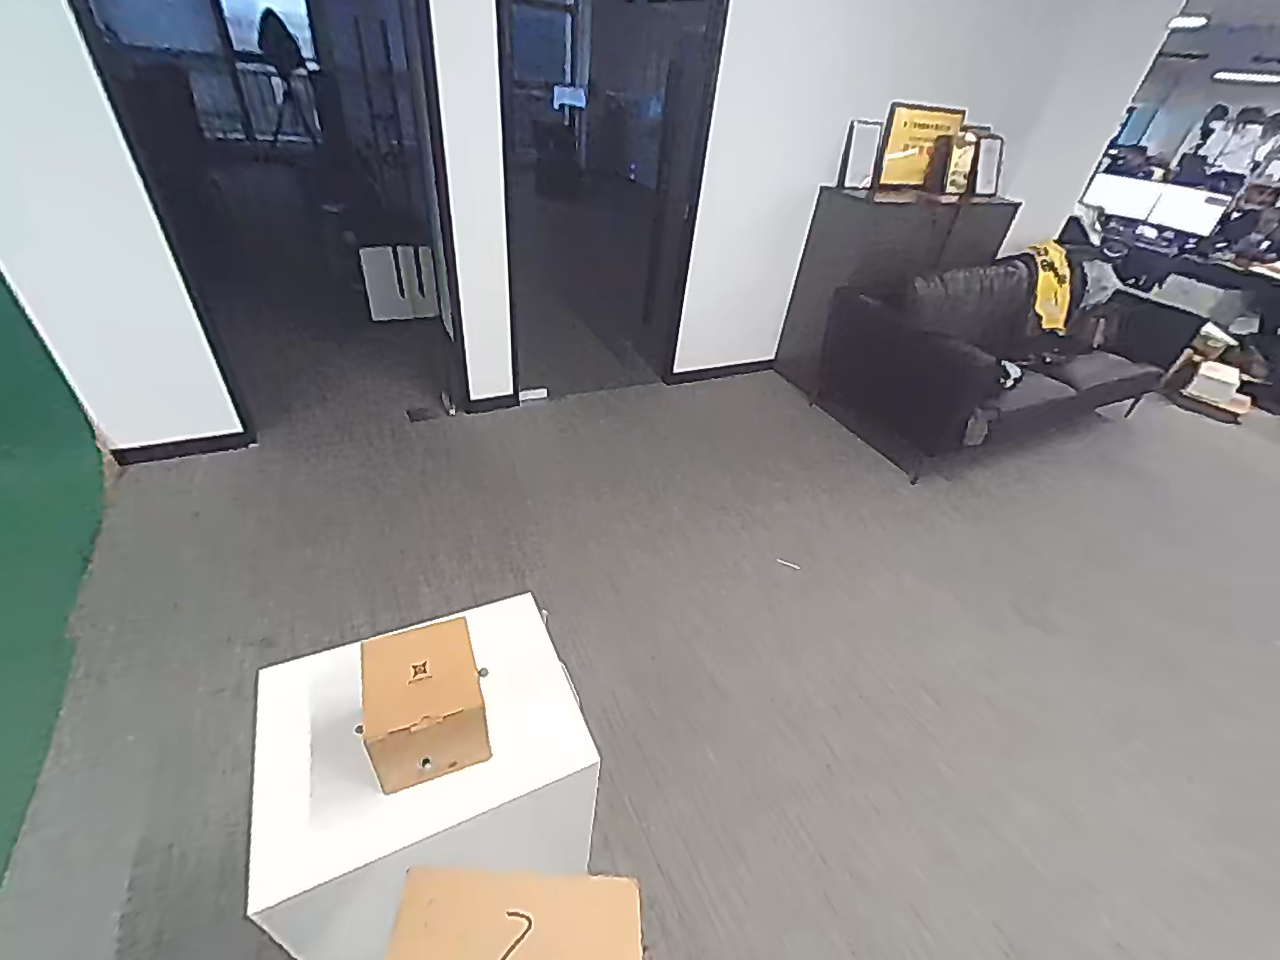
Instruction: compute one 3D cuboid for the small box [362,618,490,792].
[{"bbox_3d":[-0.344,0.361,0.877,0.168,0.176,0.179,-11,40,-22],"label":"small box"}]
